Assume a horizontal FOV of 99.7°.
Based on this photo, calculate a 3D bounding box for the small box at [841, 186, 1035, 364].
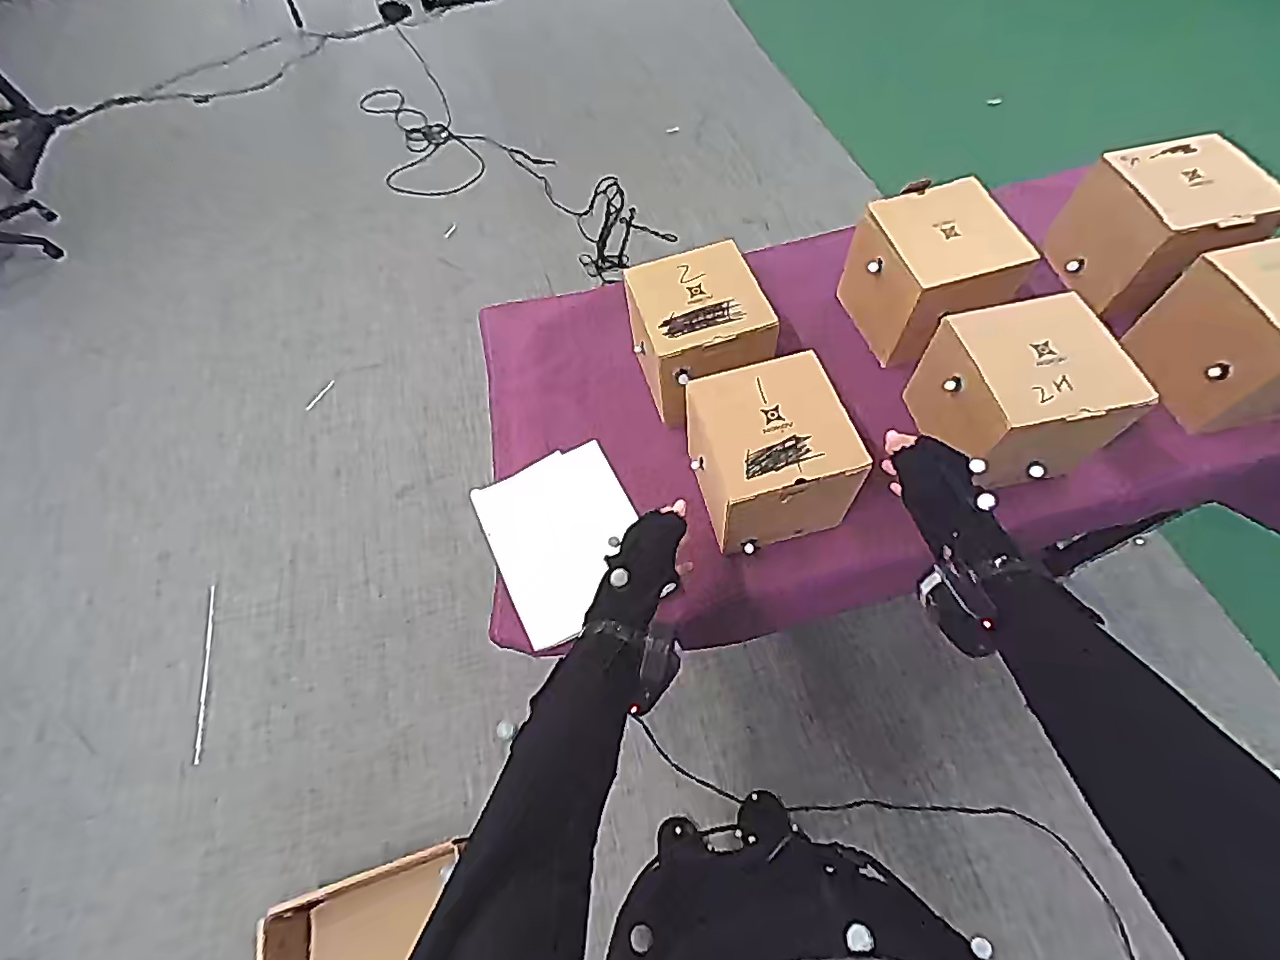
[{"bbox_3d":[0.428,-0.297,0.813,0.168,0.176,0.179,-16,61,-2],"label":"small box"}]

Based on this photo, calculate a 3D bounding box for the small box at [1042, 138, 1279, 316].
[{"bbox_3d":[0.761,-0.366,0.809,0.168,0.176,0.179,-9,62,1],"label":"small box"}]

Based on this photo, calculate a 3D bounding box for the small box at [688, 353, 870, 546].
[{"bbox_3d":[0.164,-0.028,0.694,0.168,0.176,0.179,-13,61,-1],"label":"small box"}]

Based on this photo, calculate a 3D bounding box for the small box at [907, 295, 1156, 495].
[{"bbox_3d":[0.478,-0.104,0.700,0.168,0.176,0.179,-11,61,1],"label":"small box"}]
